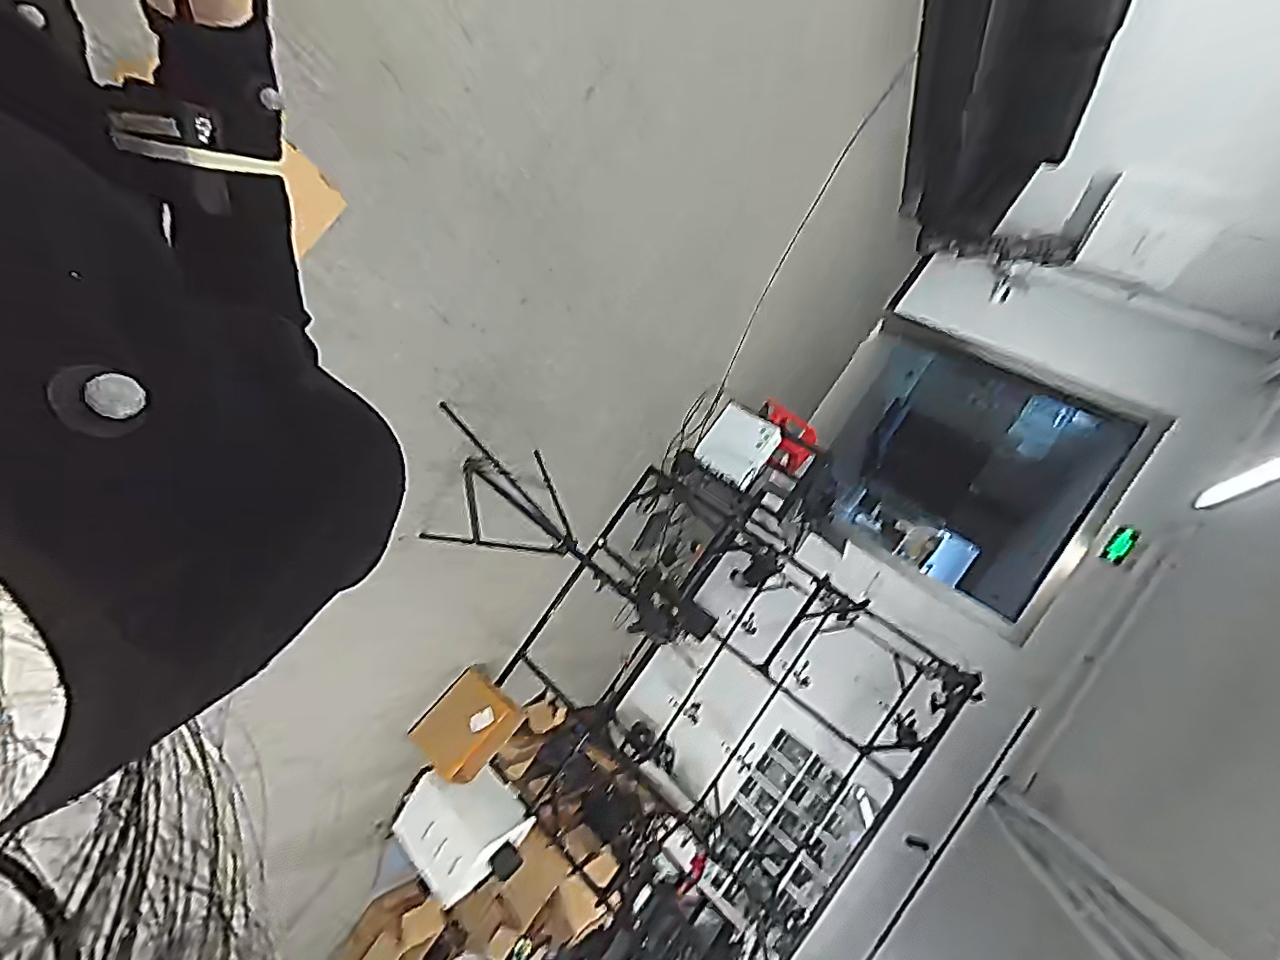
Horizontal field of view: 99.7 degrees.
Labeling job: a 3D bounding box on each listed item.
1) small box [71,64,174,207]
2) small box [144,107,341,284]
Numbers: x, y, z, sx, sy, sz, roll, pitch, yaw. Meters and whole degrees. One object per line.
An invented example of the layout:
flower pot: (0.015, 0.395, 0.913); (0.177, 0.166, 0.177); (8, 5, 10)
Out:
small box: (-0.892, -0.625, 1.004); (0.179, 0.176, 0.168); (-53, 154, -8)
small box: (-0.641, -0.461, 0.874); (0.179, 0.176, 0.168); (-53, 153, -7)
